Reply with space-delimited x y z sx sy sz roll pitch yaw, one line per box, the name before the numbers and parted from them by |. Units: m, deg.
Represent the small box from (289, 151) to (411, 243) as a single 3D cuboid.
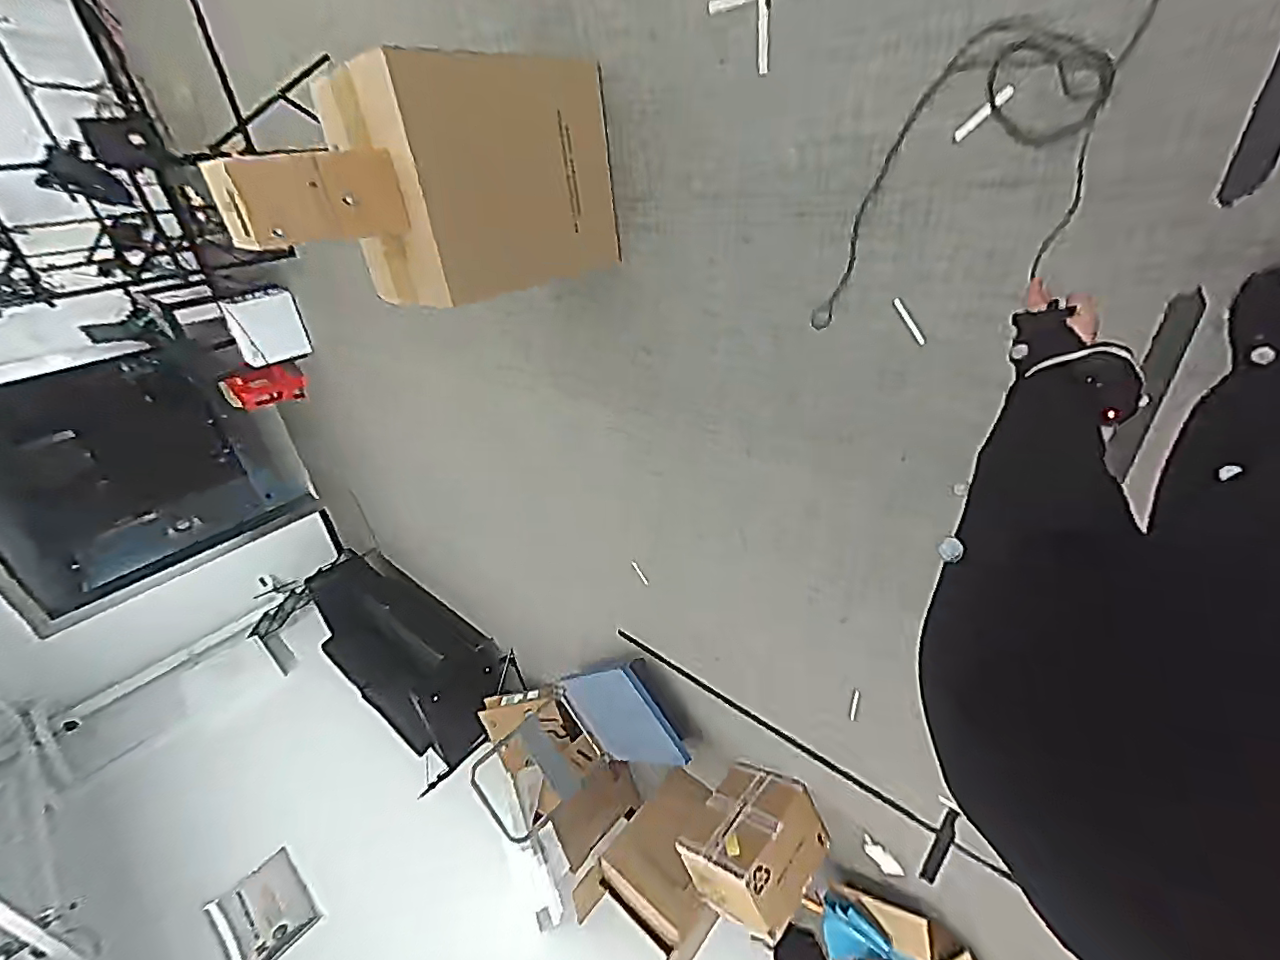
small box | -0.673 -0.664 1.268 0.168 0.176 0.179 19 130 38
